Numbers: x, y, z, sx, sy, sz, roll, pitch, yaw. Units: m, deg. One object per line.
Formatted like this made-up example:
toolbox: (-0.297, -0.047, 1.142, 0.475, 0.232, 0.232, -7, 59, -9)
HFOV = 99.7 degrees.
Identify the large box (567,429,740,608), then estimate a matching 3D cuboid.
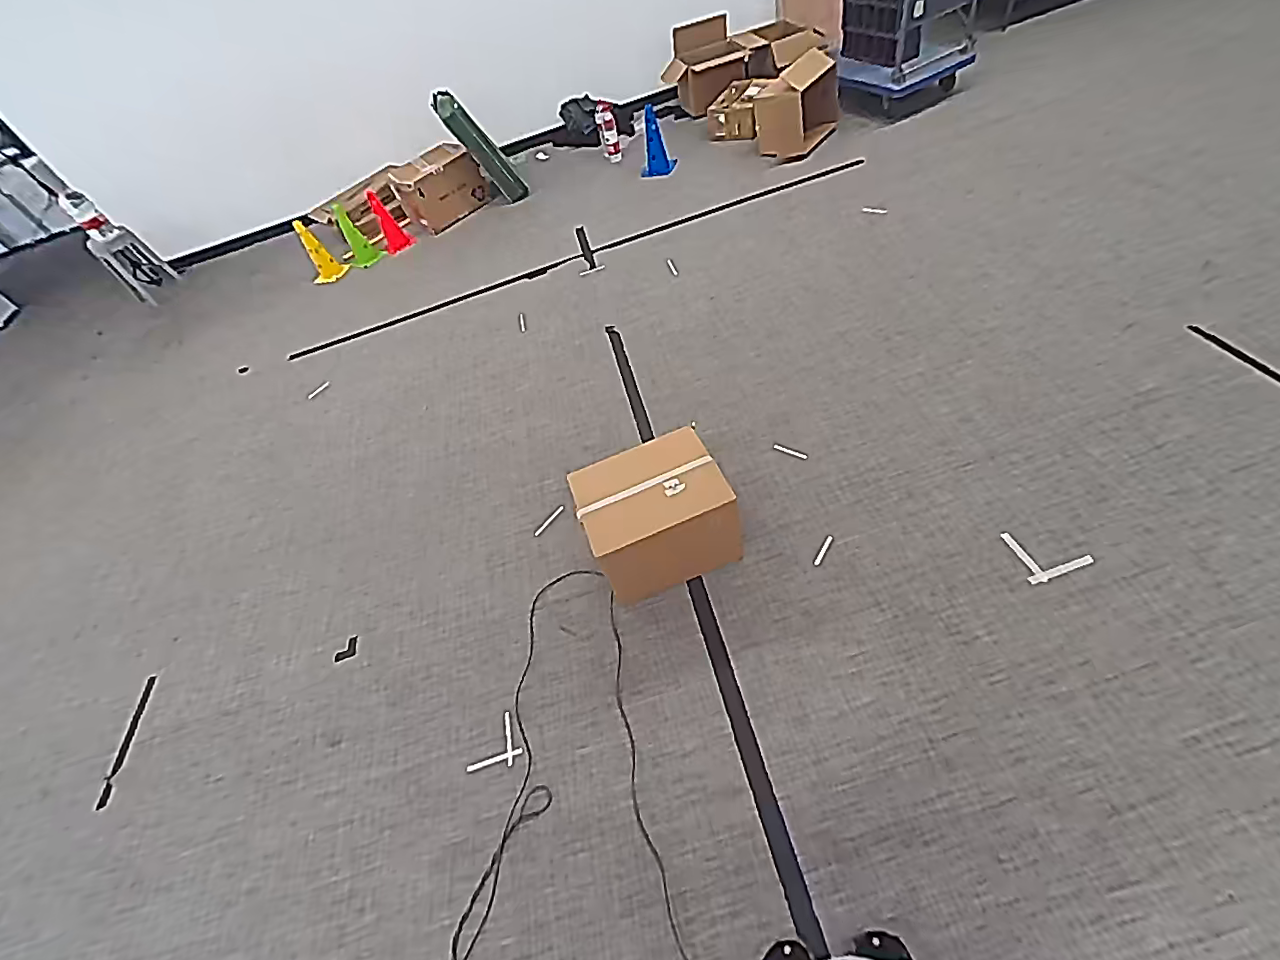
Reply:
large box: (0.045, 0.118, 1.612, 0.408, 0.320, 0.320, -22, 51, -4)
